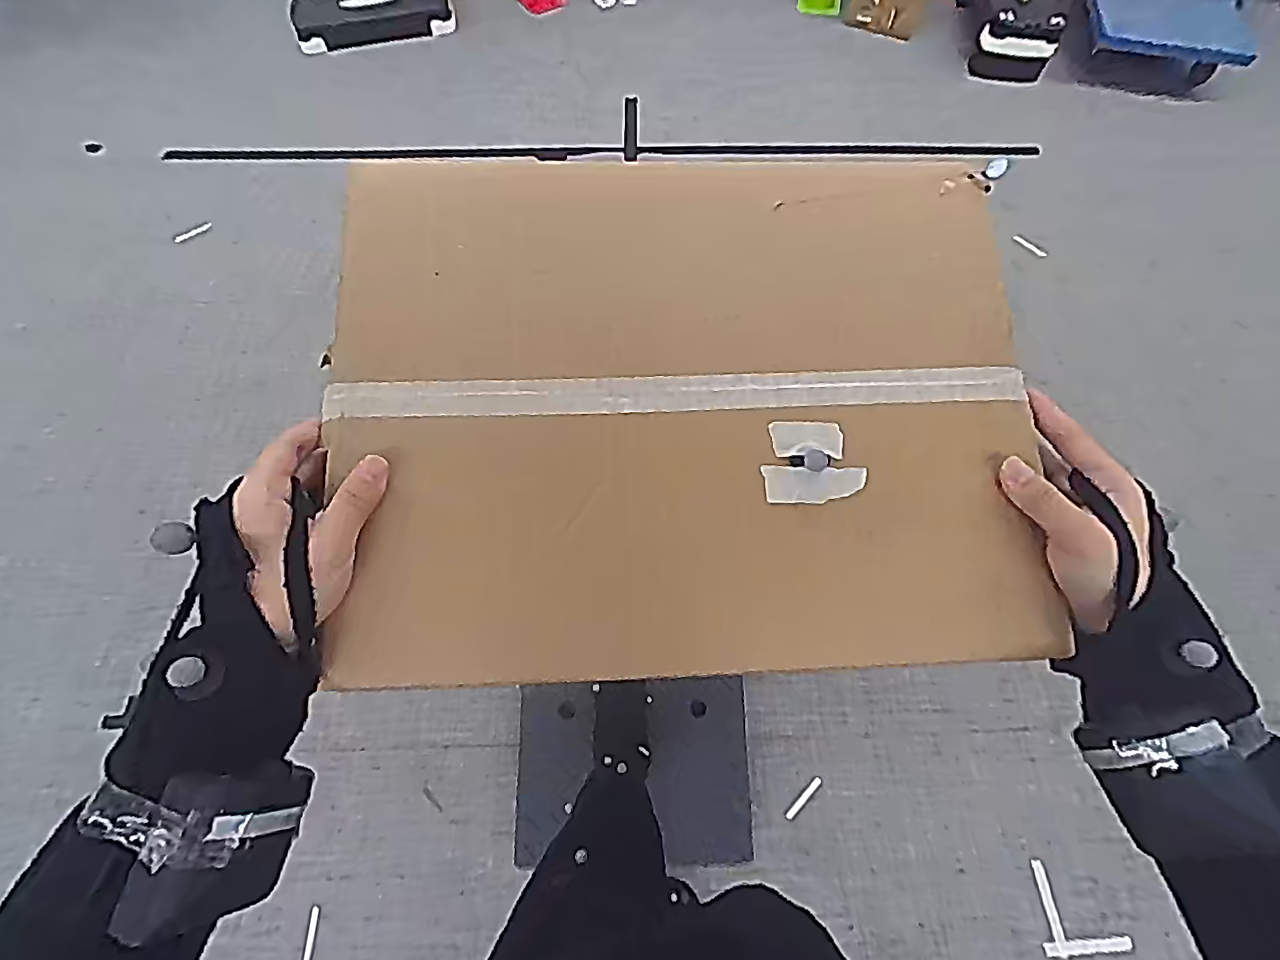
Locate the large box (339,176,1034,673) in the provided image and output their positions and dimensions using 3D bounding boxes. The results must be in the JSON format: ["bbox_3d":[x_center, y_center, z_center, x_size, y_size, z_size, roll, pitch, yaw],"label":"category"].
[{"bbox_3d":[0.017,-0.023,0.478,0.408,0.320,0.320,-2,79,-3],"label":"large box"}]

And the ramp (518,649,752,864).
[{"bbox_3d":[-0.013,0.302,1.240,0.509,0.206,0.991,-2,65,-2],"label":"ramp"}]
